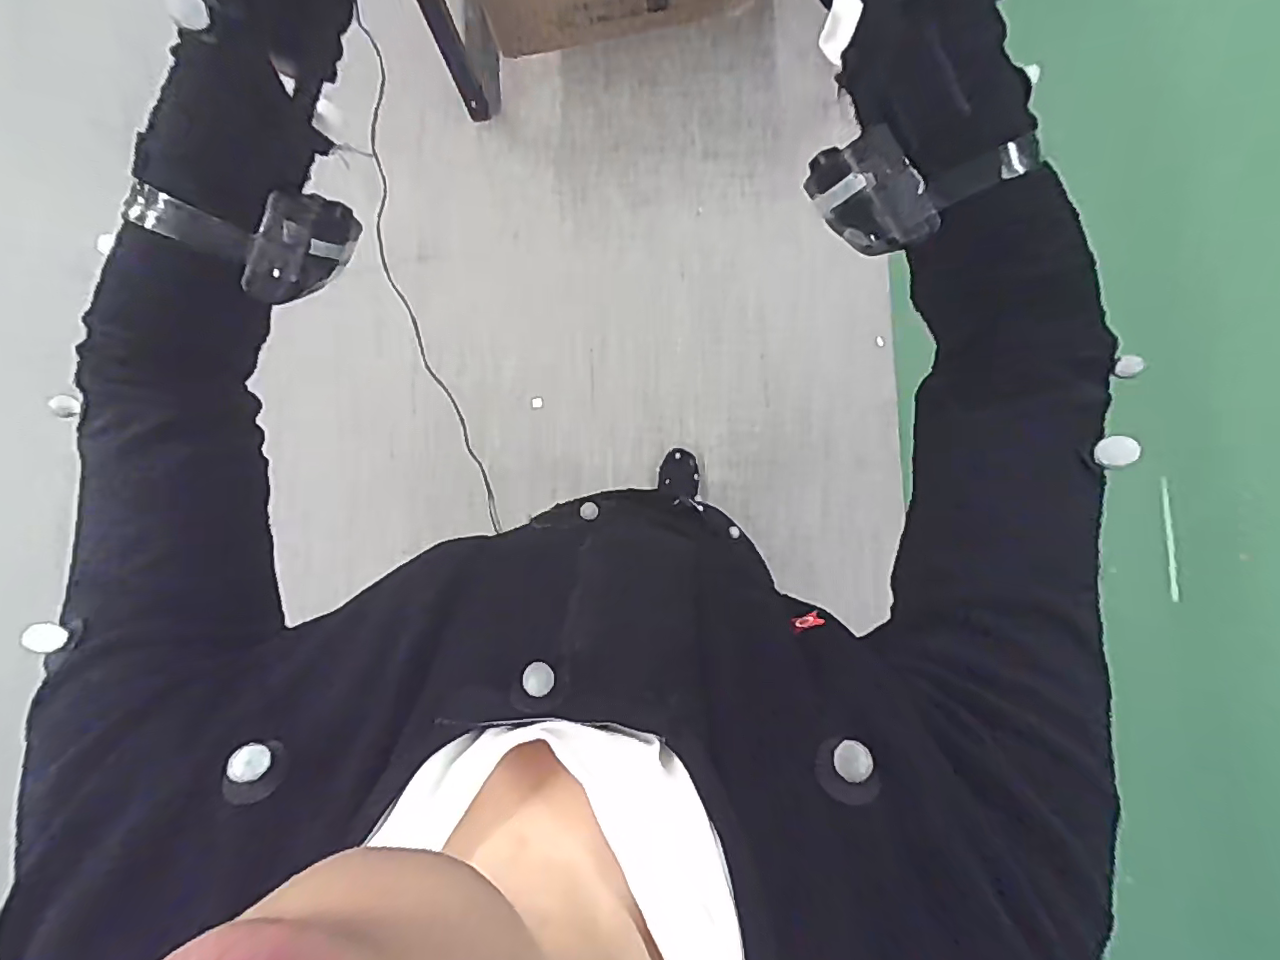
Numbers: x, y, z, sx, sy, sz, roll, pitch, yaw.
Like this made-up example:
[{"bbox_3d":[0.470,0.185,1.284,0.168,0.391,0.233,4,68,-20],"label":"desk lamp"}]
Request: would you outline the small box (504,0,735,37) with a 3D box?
[{"bbox_3d":[-0.021,-0.391,0.280,0.168,0.176,0.179,-9,83,4],"label":"small box"}]
